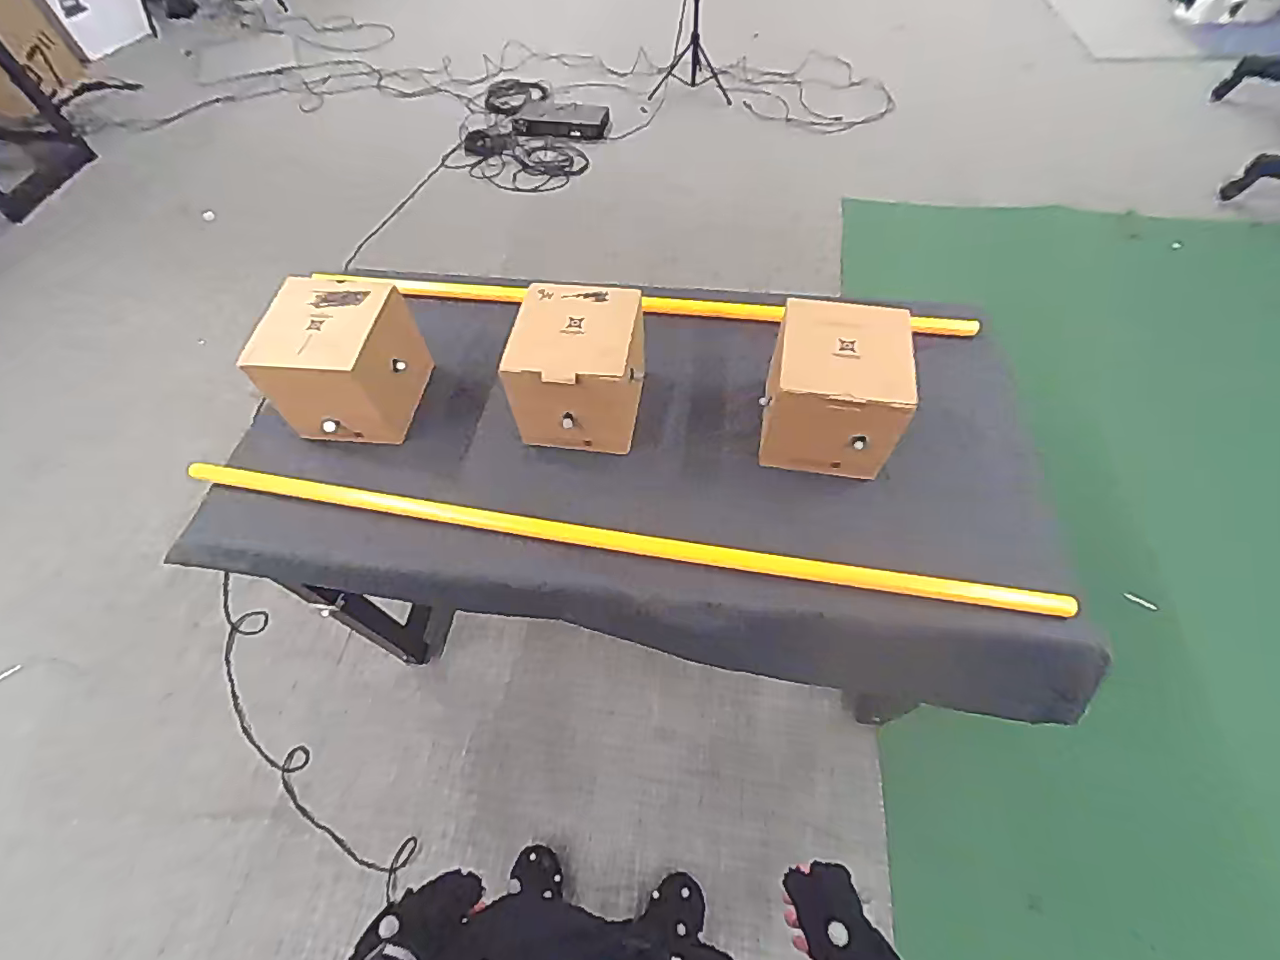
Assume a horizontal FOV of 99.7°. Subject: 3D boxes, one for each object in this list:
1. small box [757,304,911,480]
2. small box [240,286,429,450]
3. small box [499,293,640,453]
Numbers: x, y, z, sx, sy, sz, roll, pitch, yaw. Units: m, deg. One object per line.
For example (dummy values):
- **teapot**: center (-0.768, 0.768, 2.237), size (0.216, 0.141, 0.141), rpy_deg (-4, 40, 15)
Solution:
- **small box**: center (0.265, -0.120, 0.770), size (0.168, 0.176, 0.179), rpy_deg (9, 56, 6)
- **small box**: center (-0.444, -0.169, 0.826), size (0.168, 0.176, 0.179), rpy_deg (4, 58, 5)
- **small box**: center (-0.092, -0.155, 0.808), size (0.168, 0.176, 0.179), rpy_deg (2, 57, 6)
